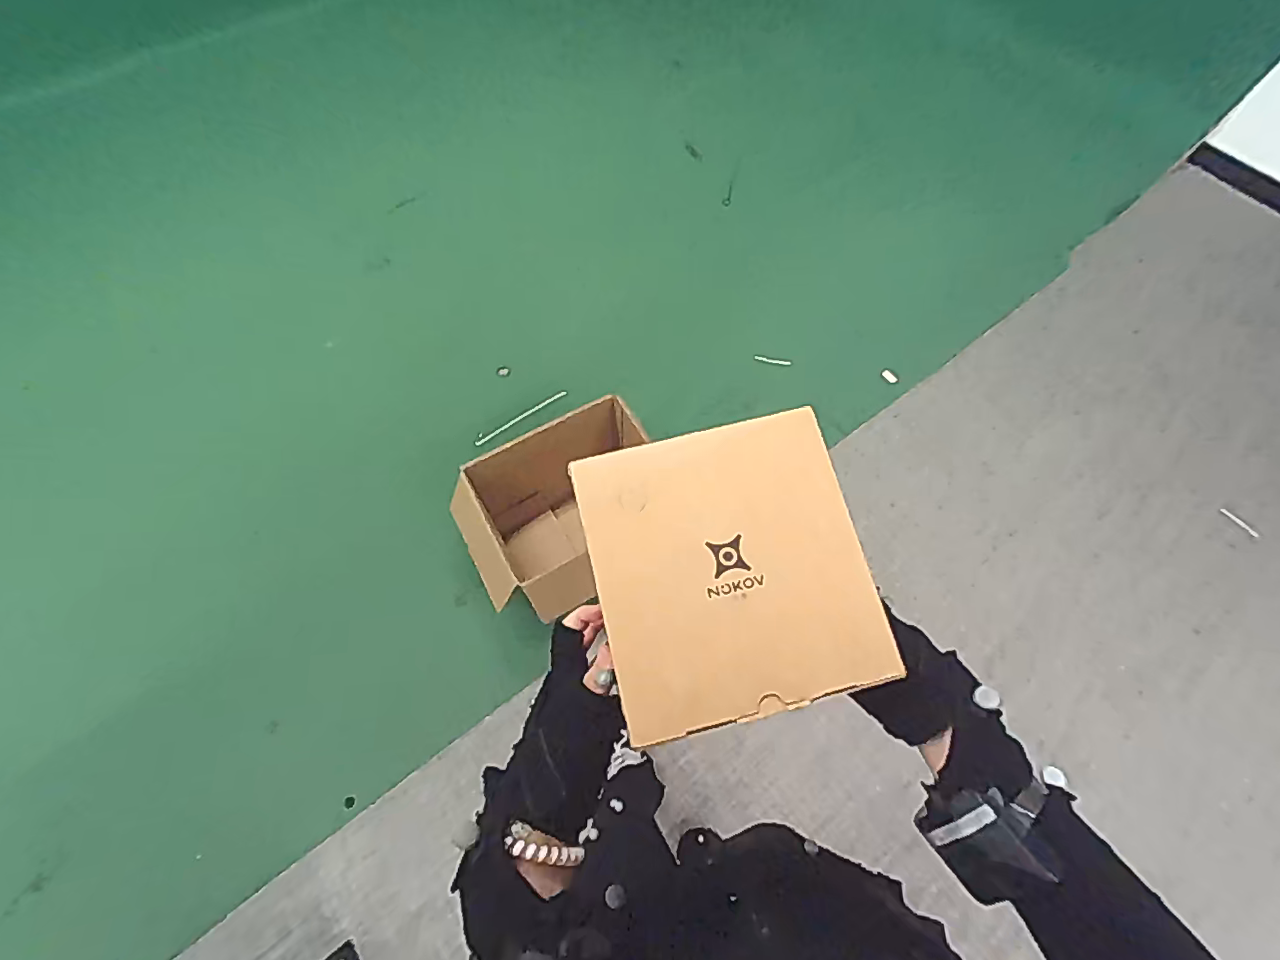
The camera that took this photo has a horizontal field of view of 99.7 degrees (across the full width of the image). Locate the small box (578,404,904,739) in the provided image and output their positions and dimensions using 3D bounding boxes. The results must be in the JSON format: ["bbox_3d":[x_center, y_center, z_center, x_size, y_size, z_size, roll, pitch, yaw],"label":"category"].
[{"bbox_3d":[0.054,0.068,0.406,0.168,0.176,0.179,-14,77,-5],"label":"small box"}]
